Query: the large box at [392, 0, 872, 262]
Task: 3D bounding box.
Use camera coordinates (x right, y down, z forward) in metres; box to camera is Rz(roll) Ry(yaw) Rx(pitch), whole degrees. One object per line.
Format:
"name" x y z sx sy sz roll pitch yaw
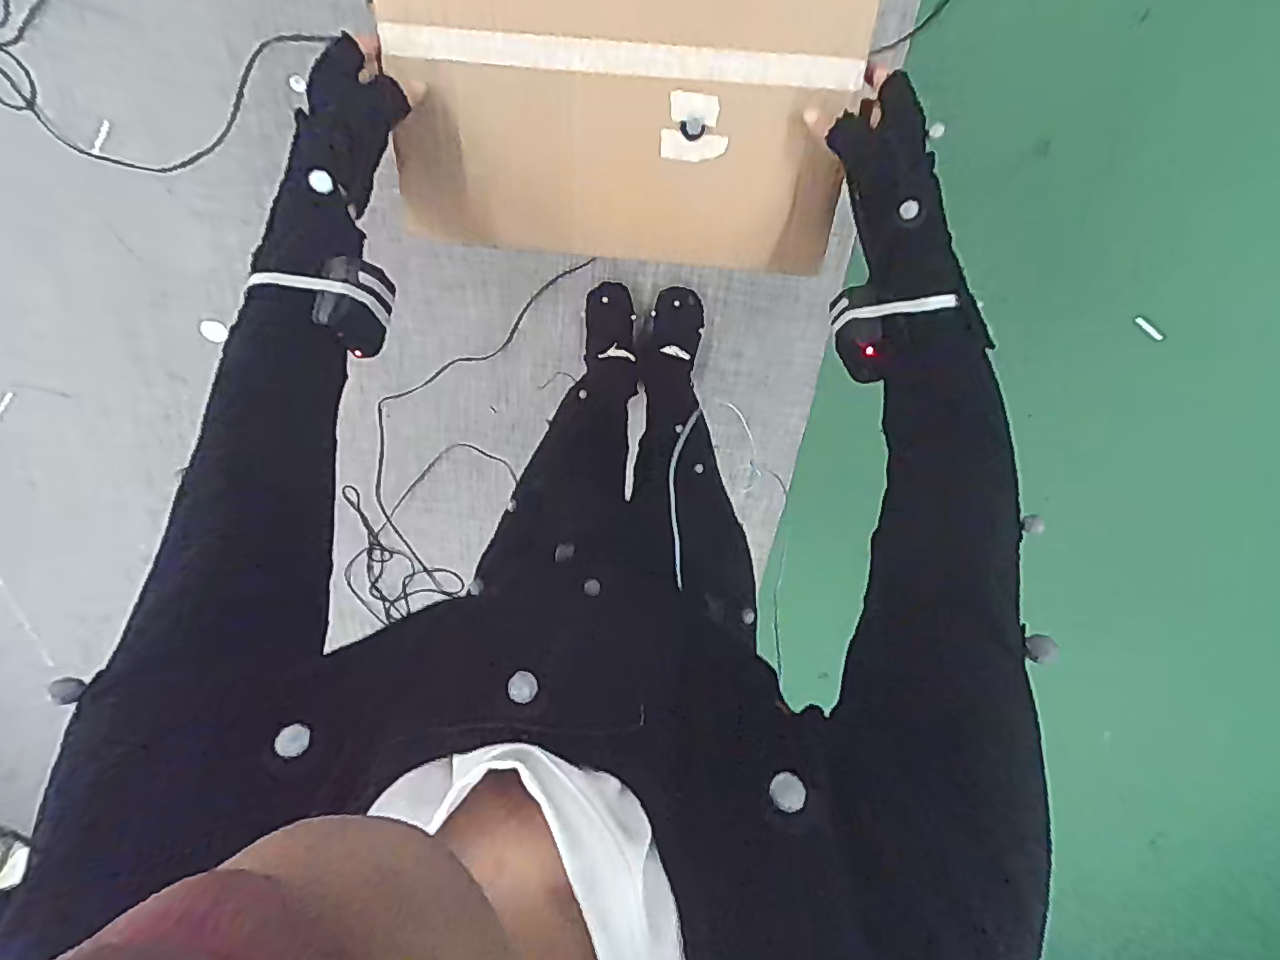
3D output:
"large box" -0.007 -0.435 0.591 0.408 0.320 0.320 5 120 0
